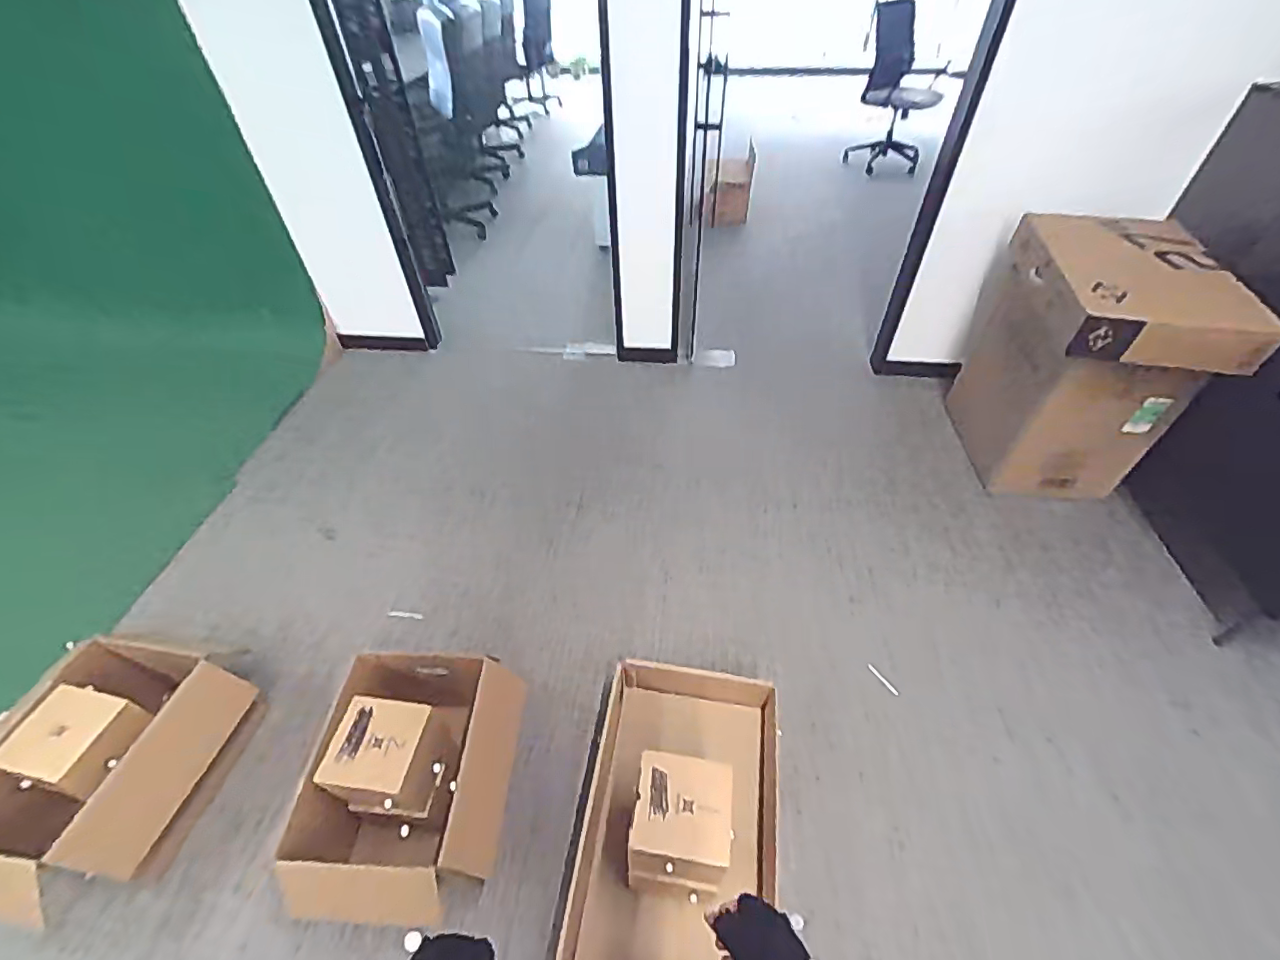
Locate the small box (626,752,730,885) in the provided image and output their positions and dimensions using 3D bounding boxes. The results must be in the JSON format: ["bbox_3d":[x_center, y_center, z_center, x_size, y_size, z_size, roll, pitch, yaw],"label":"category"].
[{"bbox_3d":[0.071,0.647,1.031,0.179,0.176,0.168,7,44,5],"label":"small box"}]

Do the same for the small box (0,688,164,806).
[{"bbox_3d":[-1.190,0.572,1.152,0.179,0.176,0.168,8,45,7],"label":"small box"}]
